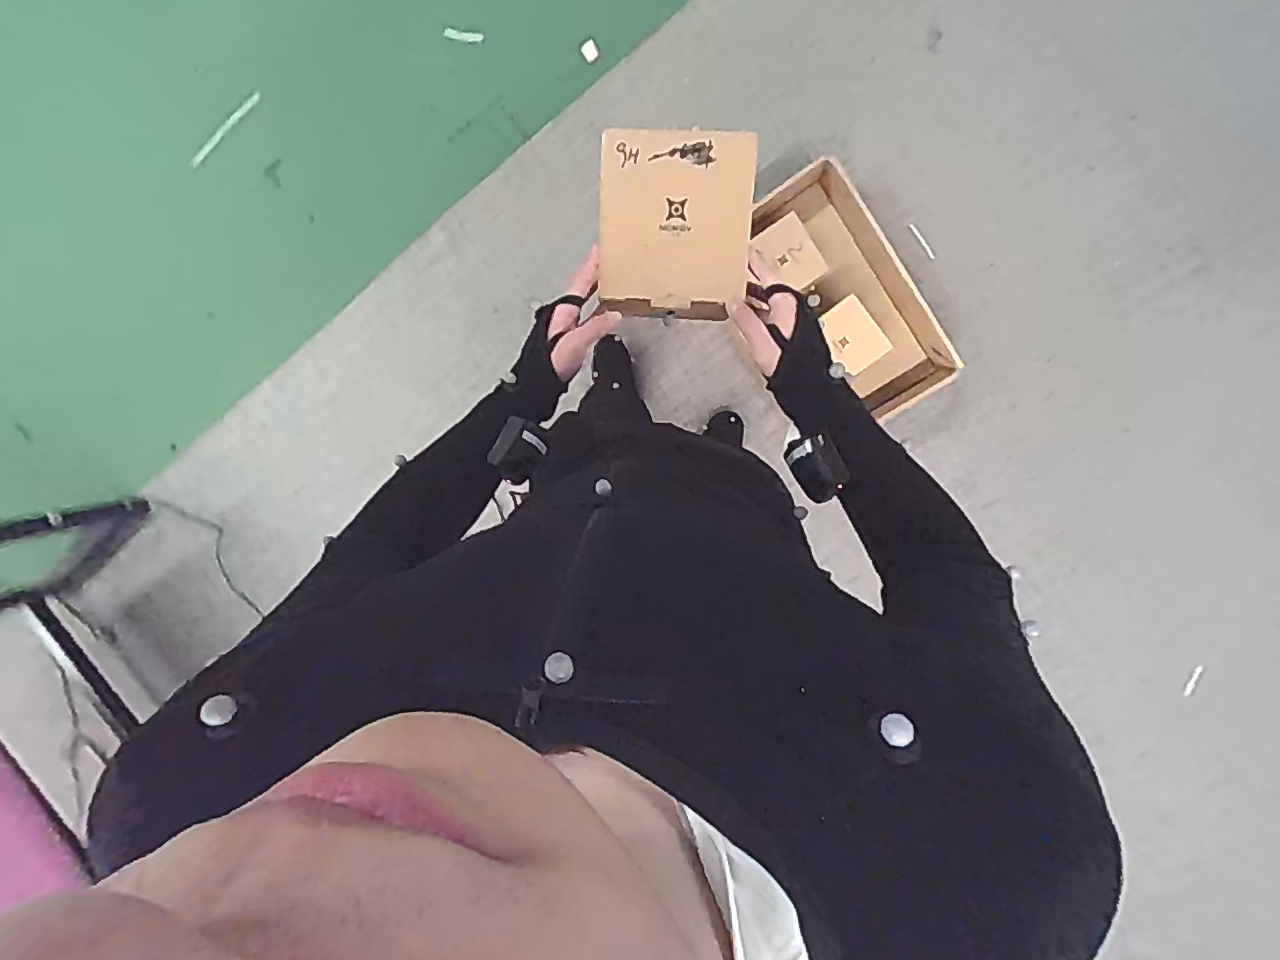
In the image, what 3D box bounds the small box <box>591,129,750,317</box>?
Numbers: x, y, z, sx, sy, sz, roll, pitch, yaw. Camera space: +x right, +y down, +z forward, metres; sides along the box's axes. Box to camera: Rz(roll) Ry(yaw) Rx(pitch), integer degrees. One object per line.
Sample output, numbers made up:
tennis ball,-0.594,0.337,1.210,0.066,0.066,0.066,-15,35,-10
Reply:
small box,0.034,-0.297,0.659,0.168,0.176,0.179,3,102,2
